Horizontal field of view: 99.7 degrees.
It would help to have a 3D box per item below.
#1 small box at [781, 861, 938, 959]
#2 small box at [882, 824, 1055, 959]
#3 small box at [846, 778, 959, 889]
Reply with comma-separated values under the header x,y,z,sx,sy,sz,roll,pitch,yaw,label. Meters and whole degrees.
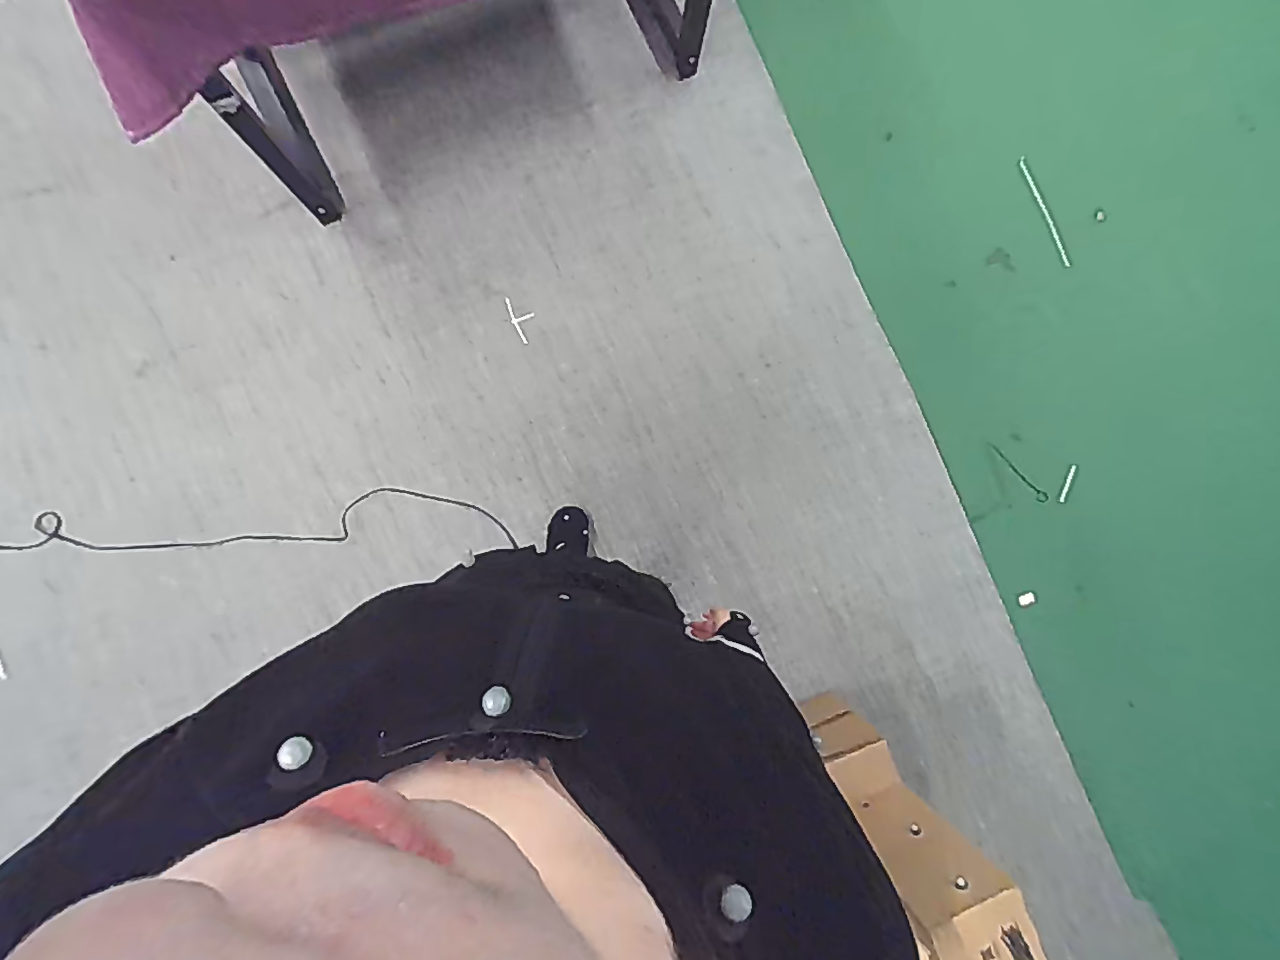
x,y,z,sx,sy,sz,roll,pitch,yaw,label
0.330,0.714,0.786,0.168,0.176,0.179,-21,89,-5,small box
0.576,0.766,0.968,0.179,0.176,0.168,-22,90,-7,small box
0.565,0.774,1.134,0.168,0.176,0.179,-21,91,-6,small box
